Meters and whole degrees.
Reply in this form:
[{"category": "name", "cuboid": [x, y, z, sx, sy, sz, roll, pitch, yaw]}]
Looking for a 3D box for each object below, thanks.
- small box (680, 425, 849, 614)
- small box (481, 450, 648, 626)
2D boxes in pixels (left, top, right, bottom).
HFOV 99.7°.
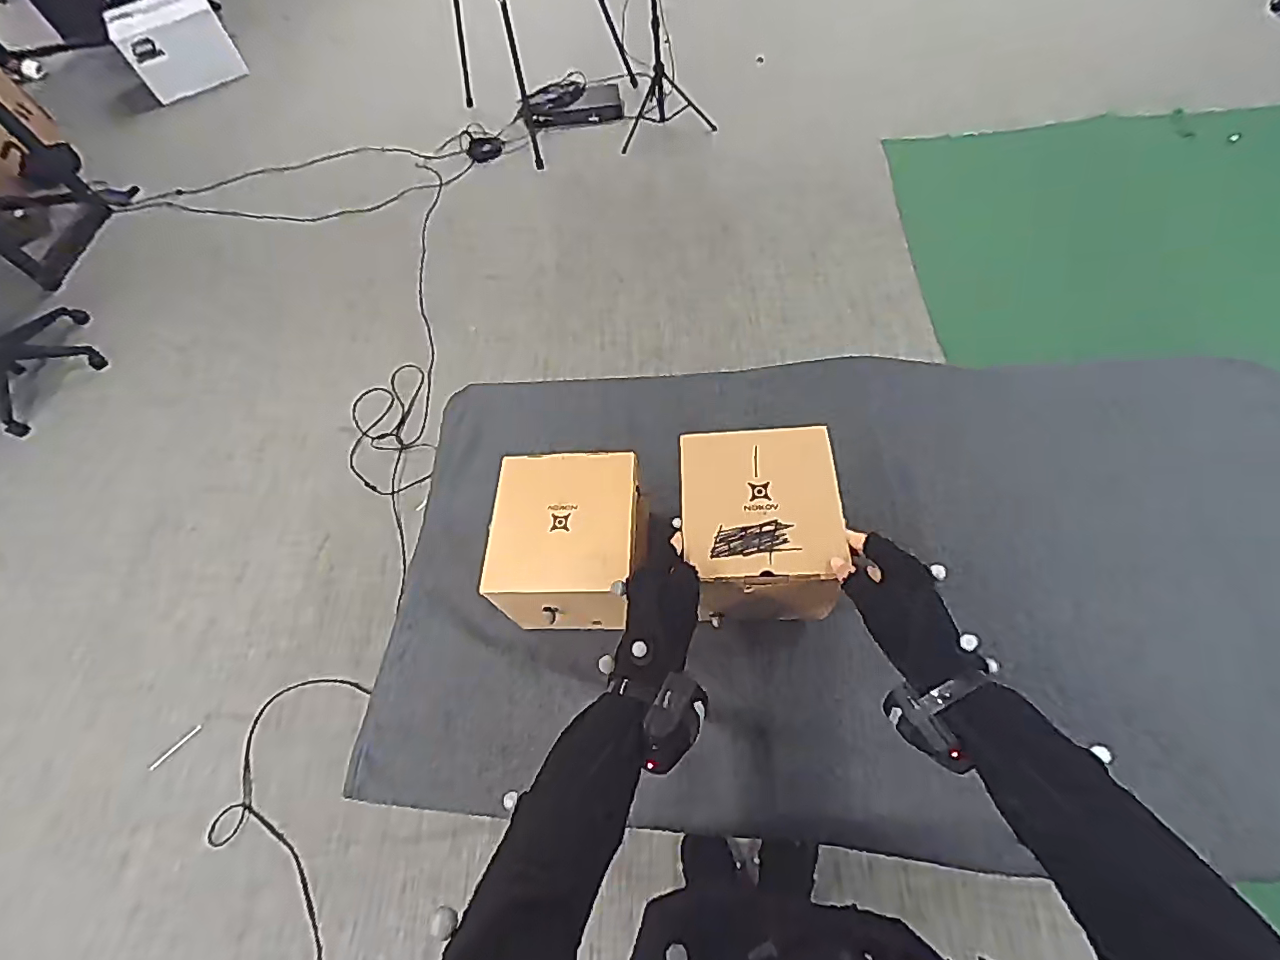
[{"category": "small box", "cuboid": [0.137, 0.057, 0.638, 0.168, 0.176, 0.179, -3, 61, 8]}, {"category": "small box", "cuboid": [-0.080, 0.081, 0.682, 0.168, 0.176, 0.179, -2, 60, 7]}]
